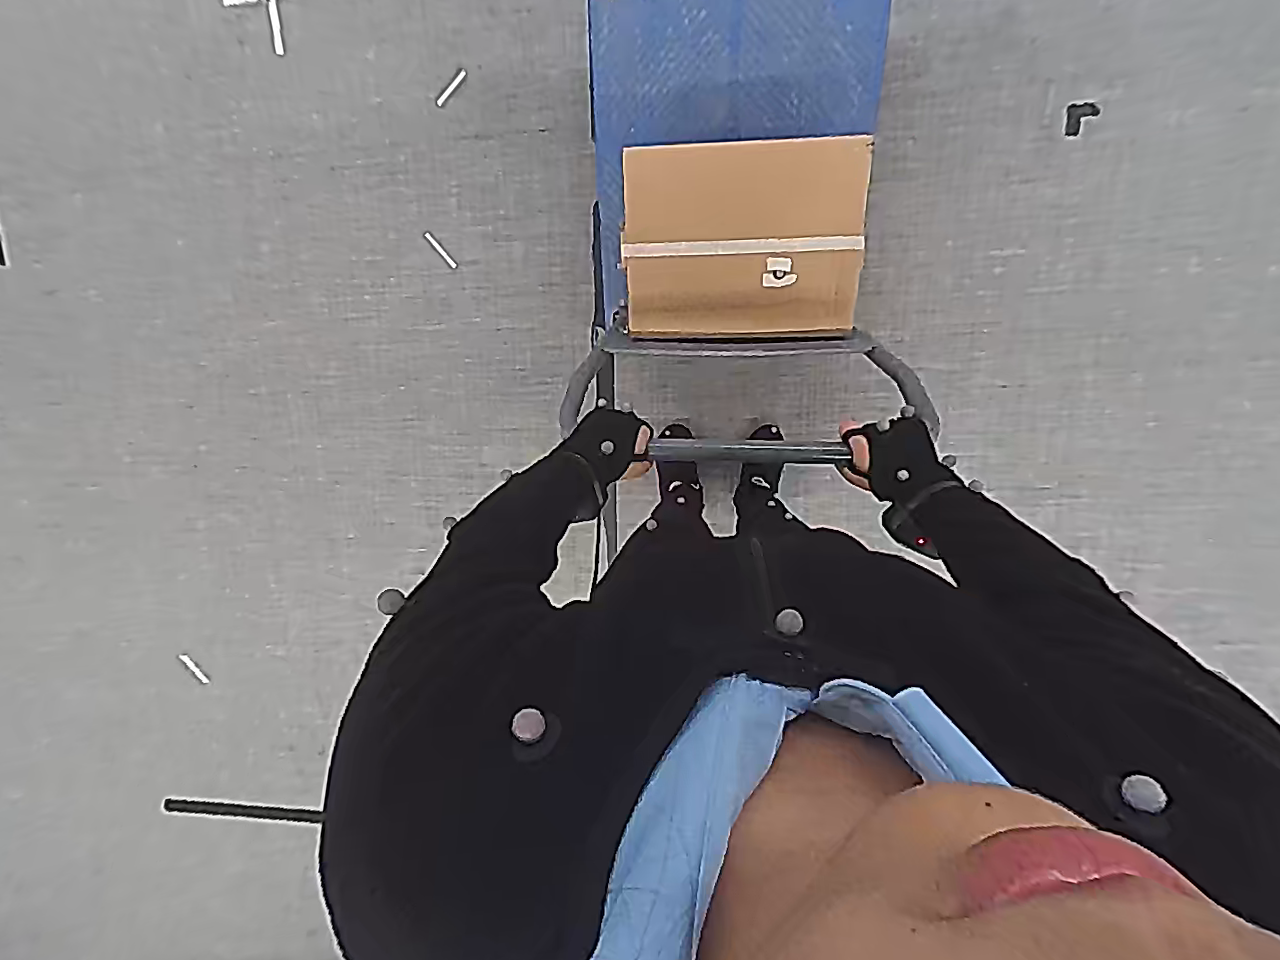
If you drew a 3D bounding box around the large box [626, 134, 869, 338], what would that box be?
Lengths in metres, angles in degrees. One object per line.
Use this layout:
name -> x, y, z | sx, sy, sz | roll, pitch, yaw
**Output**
large box -> 0.194, -0.471, 1.084 | 0.408, 0.320, 0.320 | 0, 114, 6
